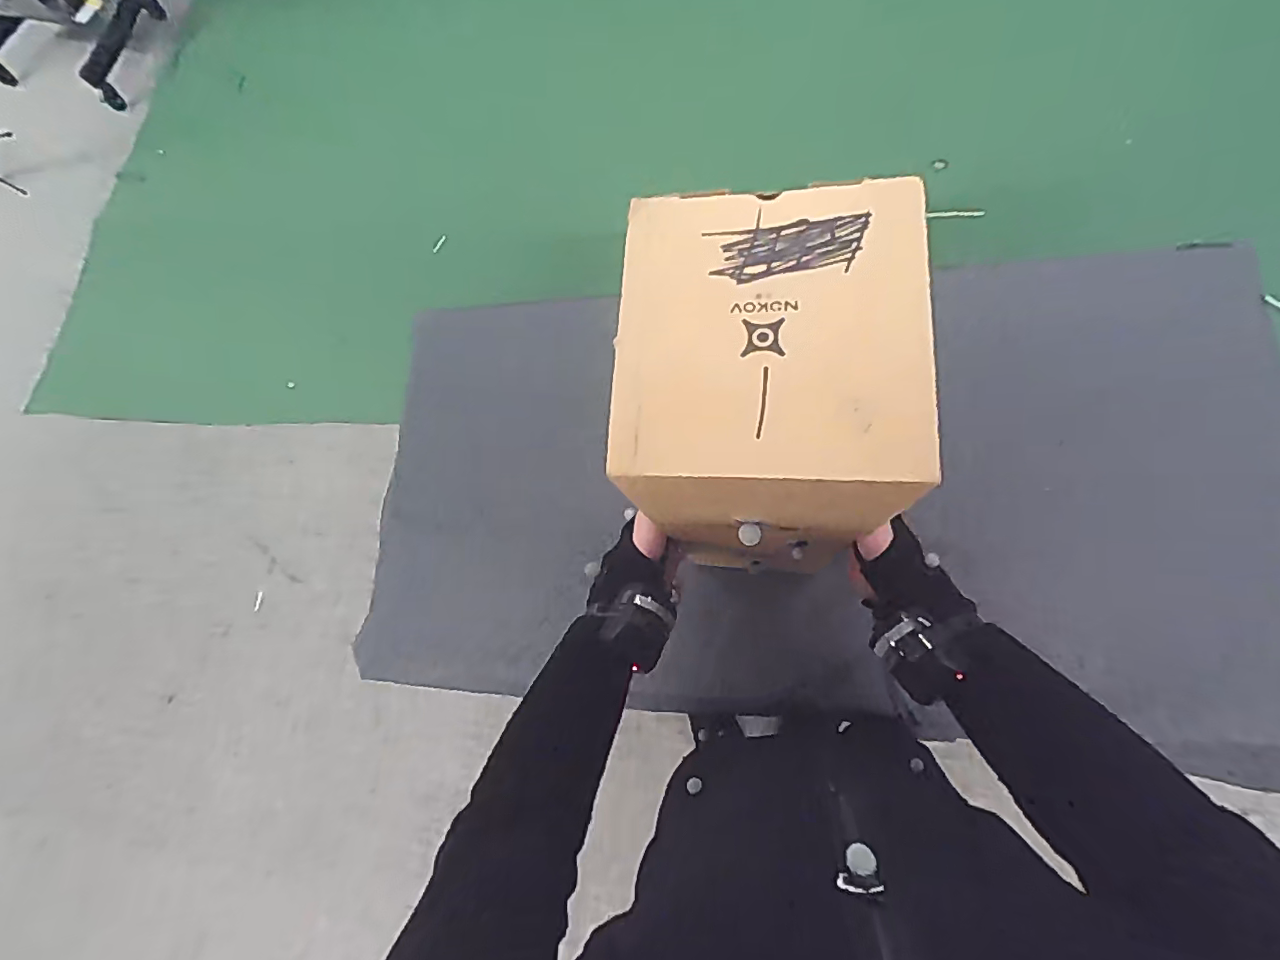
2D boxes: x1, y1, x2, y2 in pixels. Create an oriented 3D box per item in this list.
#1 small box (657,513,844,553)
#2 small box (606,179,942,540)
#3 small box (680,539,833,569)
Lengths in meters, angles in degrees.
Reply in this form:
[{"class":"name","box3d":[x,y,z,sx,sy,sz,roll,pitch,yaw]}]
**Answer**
[{"class":"small box","box3d":[0.114,-0.025,0.520,0.168,0.176,0.179,0,75,12]},{"class":"small box","box3d":[0.084,-0.062,0.363,0.168,0.176,0.179,2,77,13]},{"class":"small box","box3d":[0.150,0.015,0.674,0.168,0.176,0.179,3,76,14]}]
